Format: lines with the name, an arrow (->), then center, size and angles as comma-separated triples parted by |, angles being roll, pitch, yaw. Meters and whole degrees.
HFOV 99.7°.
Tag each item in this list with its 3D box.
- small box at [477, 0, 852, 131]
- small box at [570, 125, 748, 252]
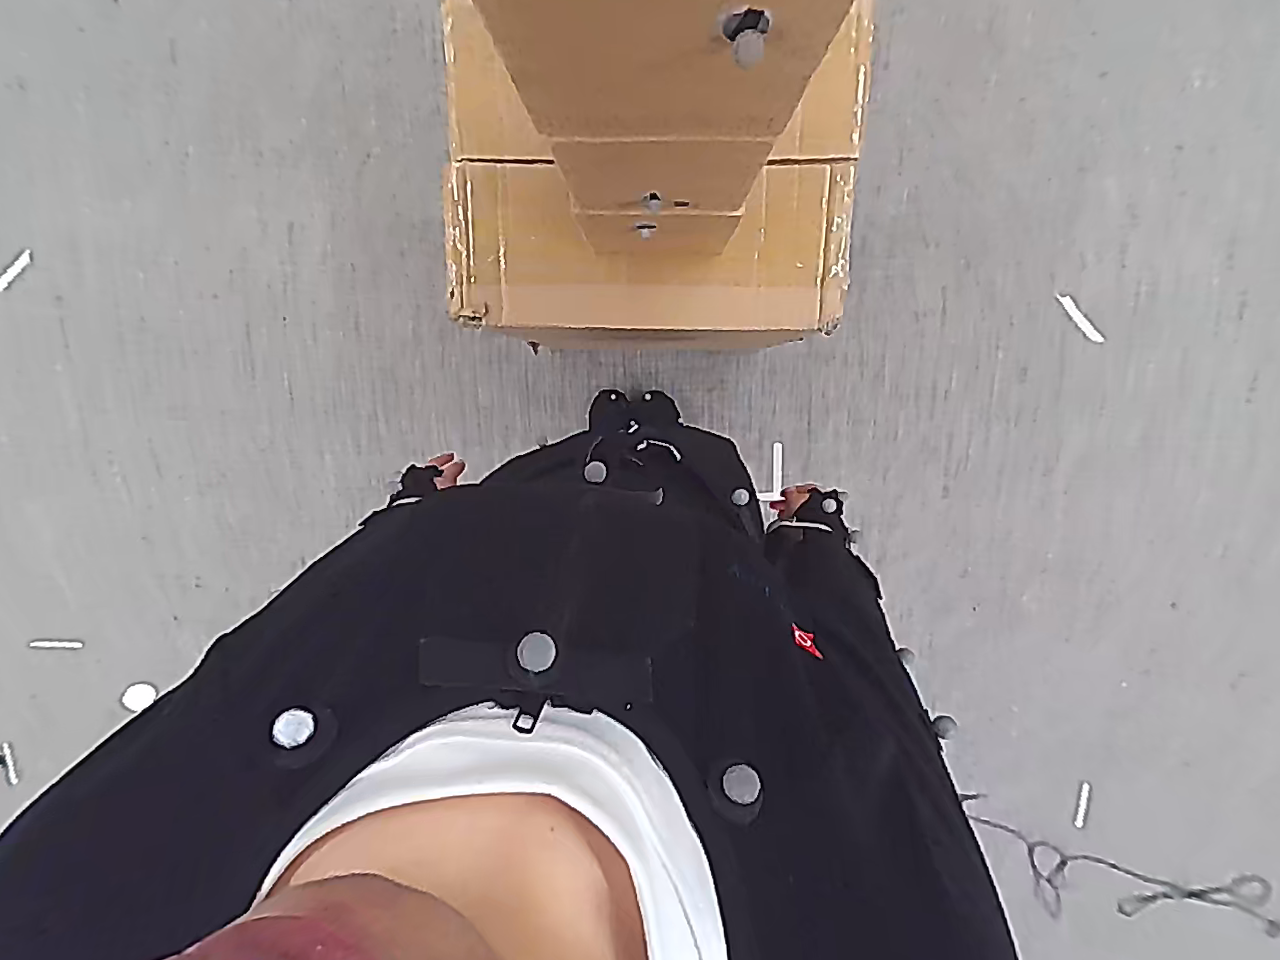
small box -> 0.013, -0.308, 0.281 | 0.179, 0.176, 0.168 | 2, 101, 1
small box -> 0.021, -0.361, 0.605 | 0.179, 0.176, 0.168 | 2, 101, 1
